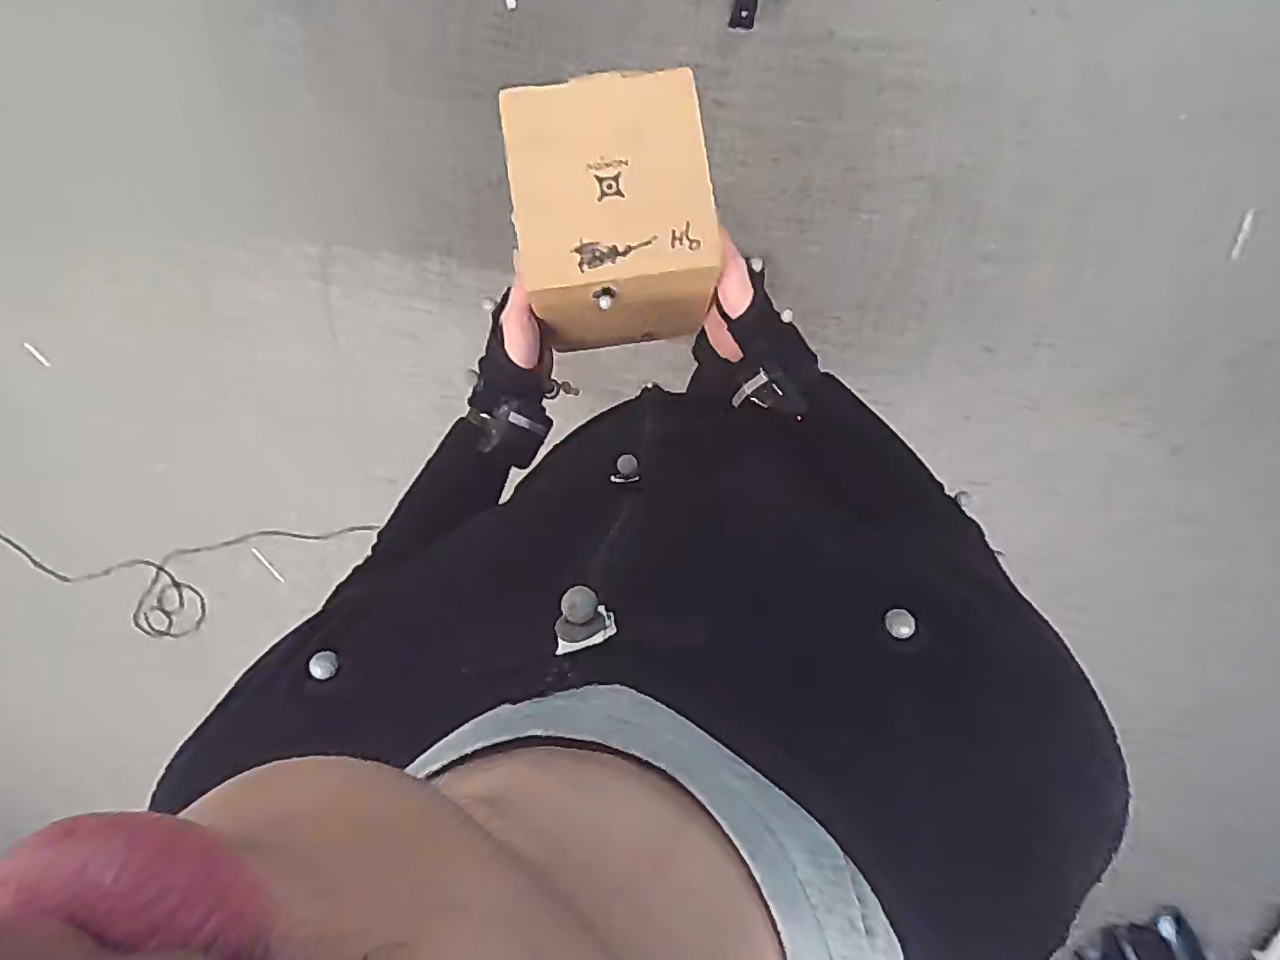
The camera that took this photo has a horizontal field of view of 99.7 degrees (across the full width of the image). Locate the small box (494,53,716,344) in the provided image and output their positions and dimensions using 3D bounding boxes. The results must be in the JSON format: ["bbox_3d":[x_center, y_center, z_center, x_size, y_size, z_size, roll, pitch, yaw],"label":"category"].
[{"bbox_3d":[-0.028,-0.251,0.521,0.168,0.176,0.179,-9,86,2],"label":"small box"}]
